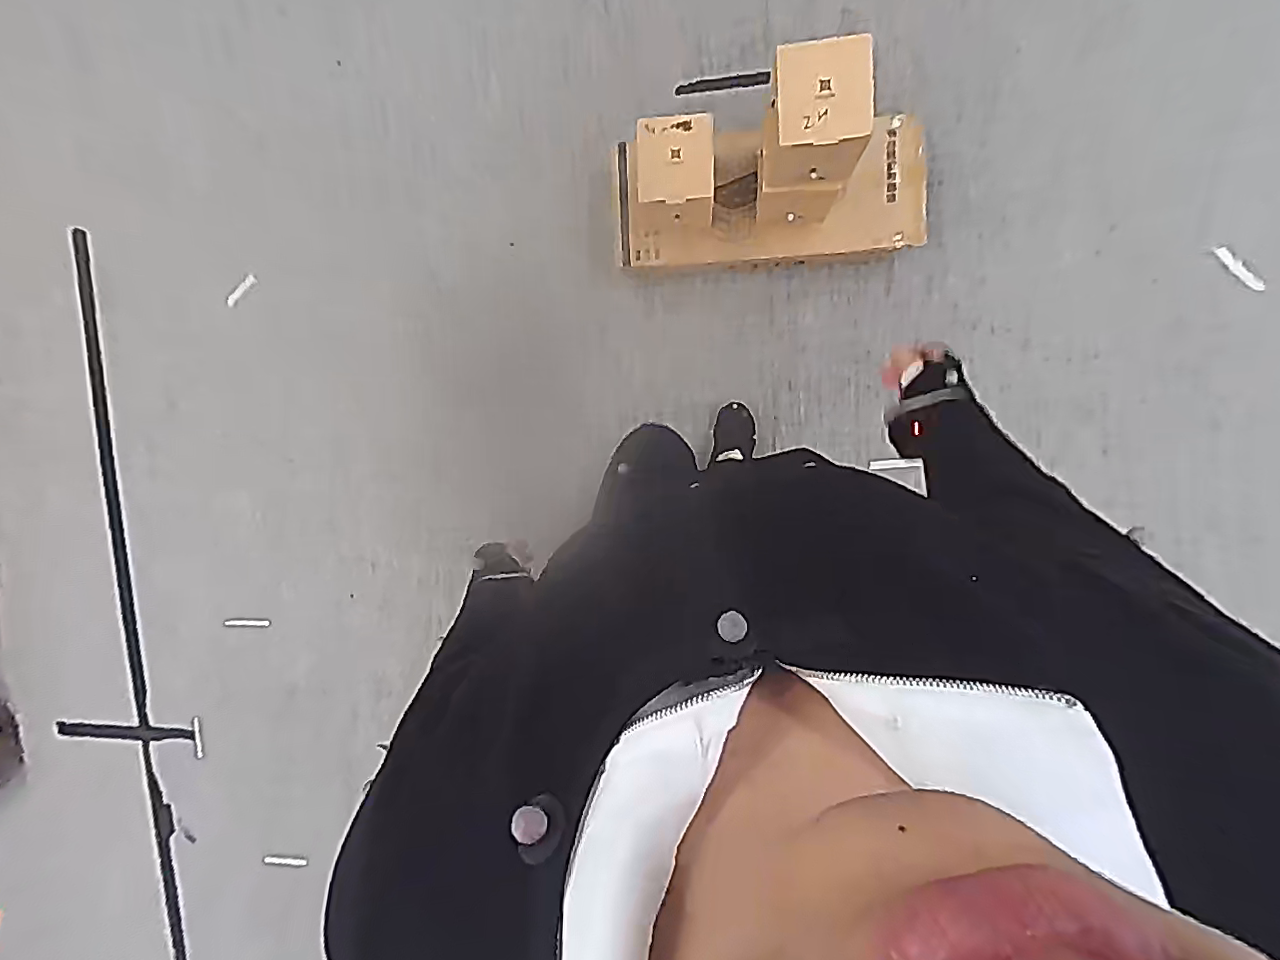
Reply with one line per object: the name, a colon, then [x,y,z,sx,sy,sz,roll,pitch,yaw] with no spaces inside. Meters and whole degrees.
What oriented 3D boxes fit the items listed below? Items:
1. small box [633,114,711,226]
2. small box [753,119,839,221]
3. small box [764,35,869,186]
small box: [0.078,-0.695,1.235,0.168,0.176,0.179,0,97,8]
small box: [0.346,-0.700,1.206,0.168,0.176,0.179,2,96,7]
small box: [0.332,-0.699,1.041,0.168,0.176,0.179,-2,95,7]
